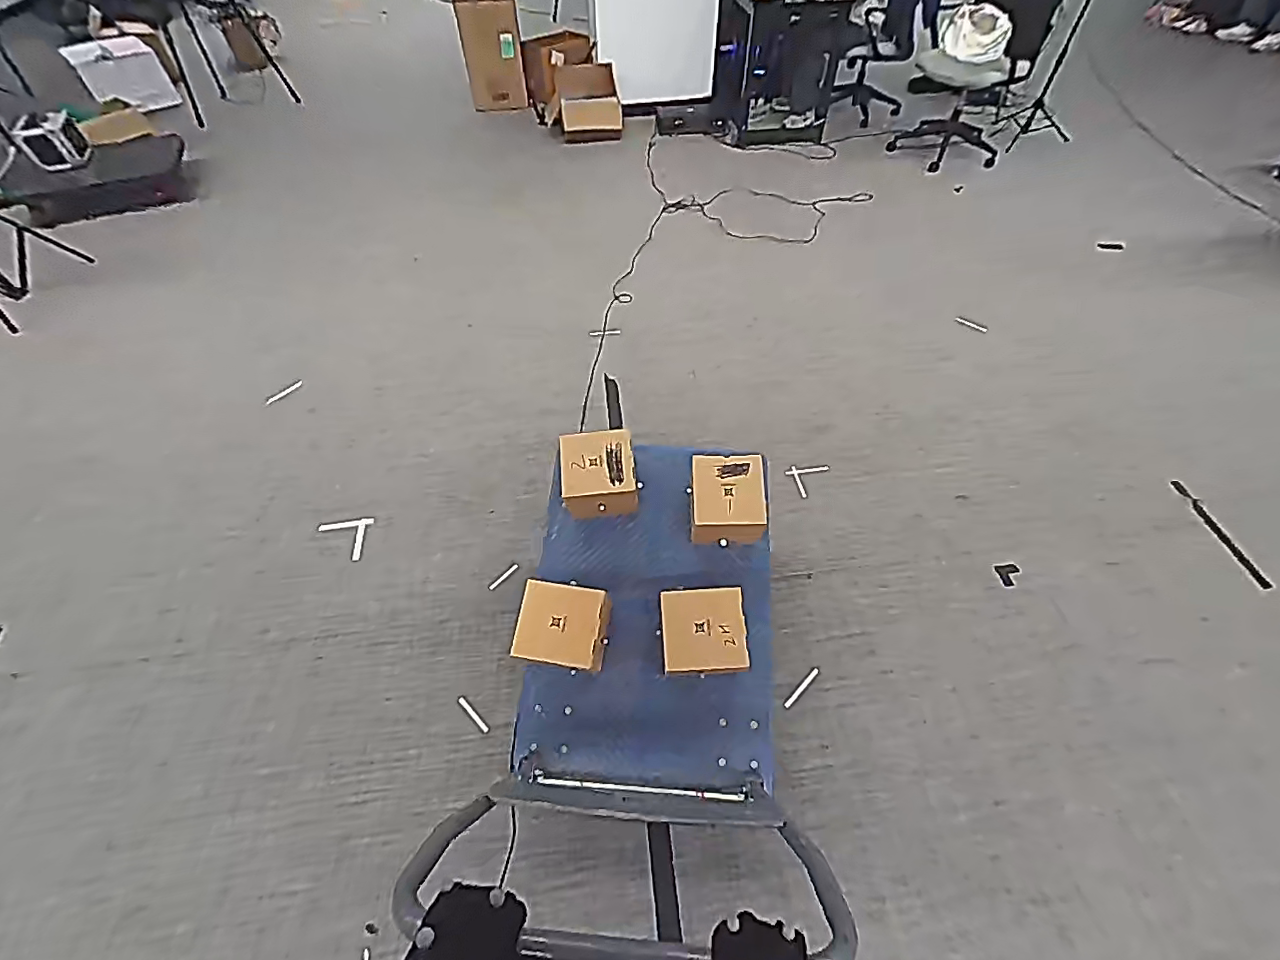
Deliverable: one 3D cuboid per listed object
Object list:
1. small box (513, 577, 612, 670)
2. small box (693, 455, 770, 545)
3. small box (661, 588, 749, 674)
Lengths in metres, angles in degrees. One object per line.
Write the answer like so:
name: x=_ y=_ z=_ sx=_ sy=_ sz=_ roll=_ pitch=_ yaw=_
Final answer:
small box: x=-0.167 y=0.332 z=1.227 sx=0.179 sy=0.176 sz=0.168 roll=8 pitch=68 yaw=5
small box: x=0.216 y=0.051 z=1.322 sx=0.168 sy=0.176 sz=0.179 roll=0 pitch=68 yaw=3
small box: x=0.141 y=0.341 z=1.205 sx=0.179 sy=0.176 sz=0.168 roll=-3 pitch=68 yaw=2
